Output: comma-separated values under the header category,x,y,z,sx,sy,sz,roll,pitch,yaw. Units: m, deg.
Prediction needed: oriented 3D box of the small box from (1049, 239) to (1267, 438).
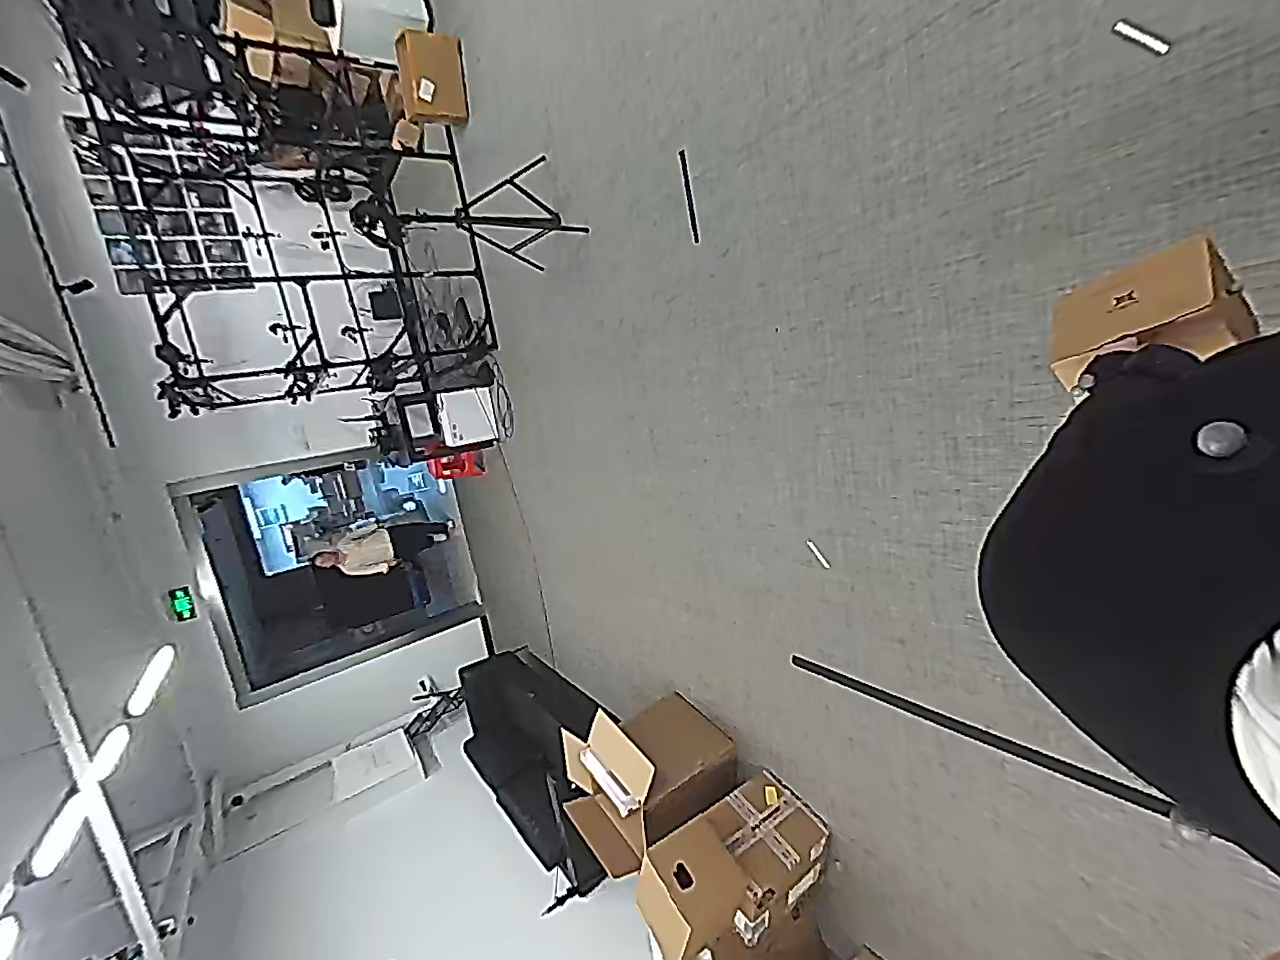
category,x,y,z,sx,sy,sz,roll,pitch,yaw
small box,0.699,-0.177,0.735,0.176,0.179,0.168,44,148,-15
